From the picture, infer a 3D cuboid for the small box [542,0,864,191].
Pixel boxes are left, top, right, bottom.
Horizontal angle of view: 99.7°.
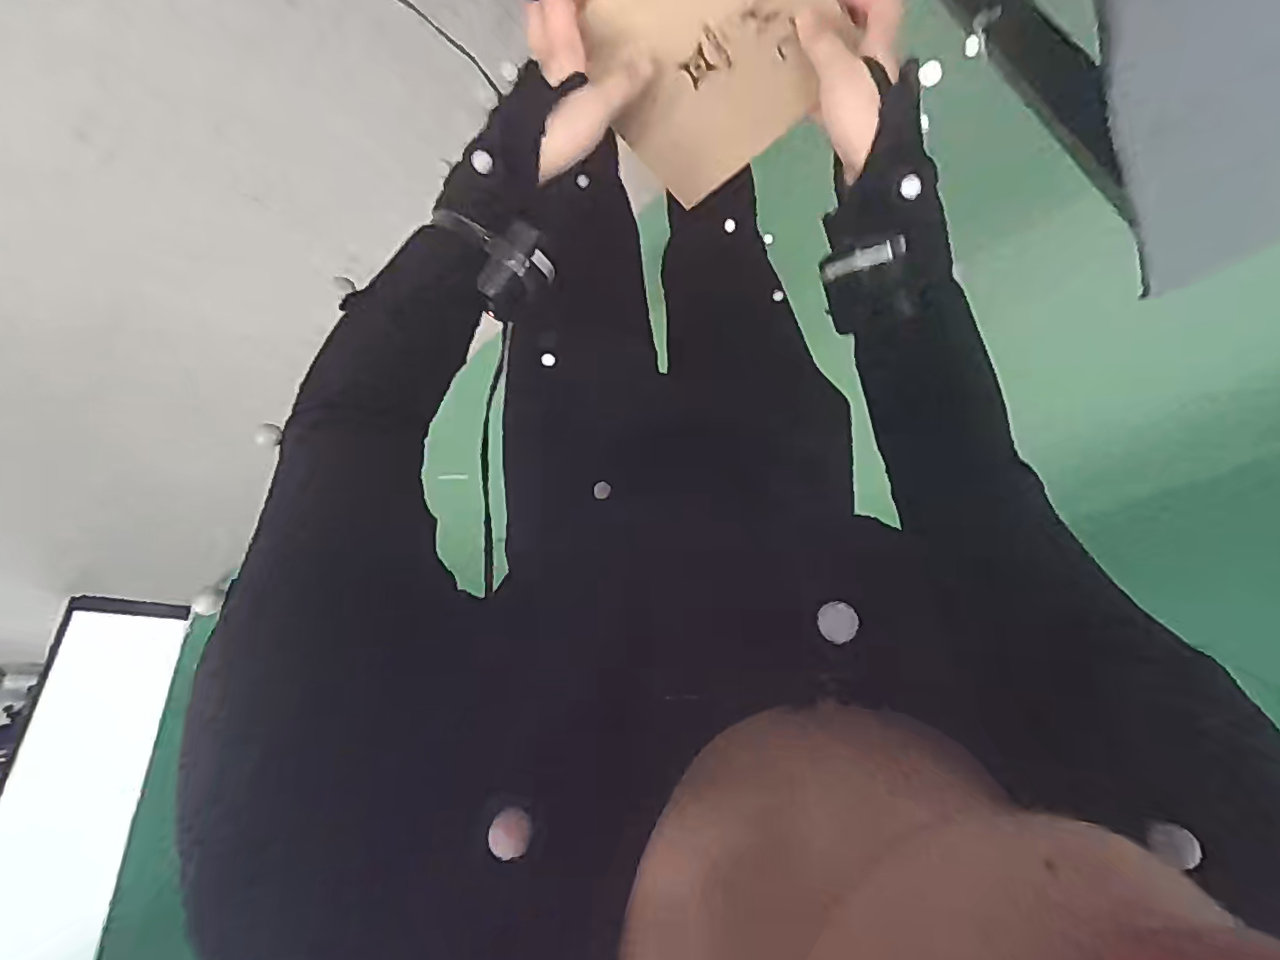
[{"bbox_3d":[0.049,-0.387,0.429,0.179,0.176,0.168,-24,140,38],"label":"small box"}]
